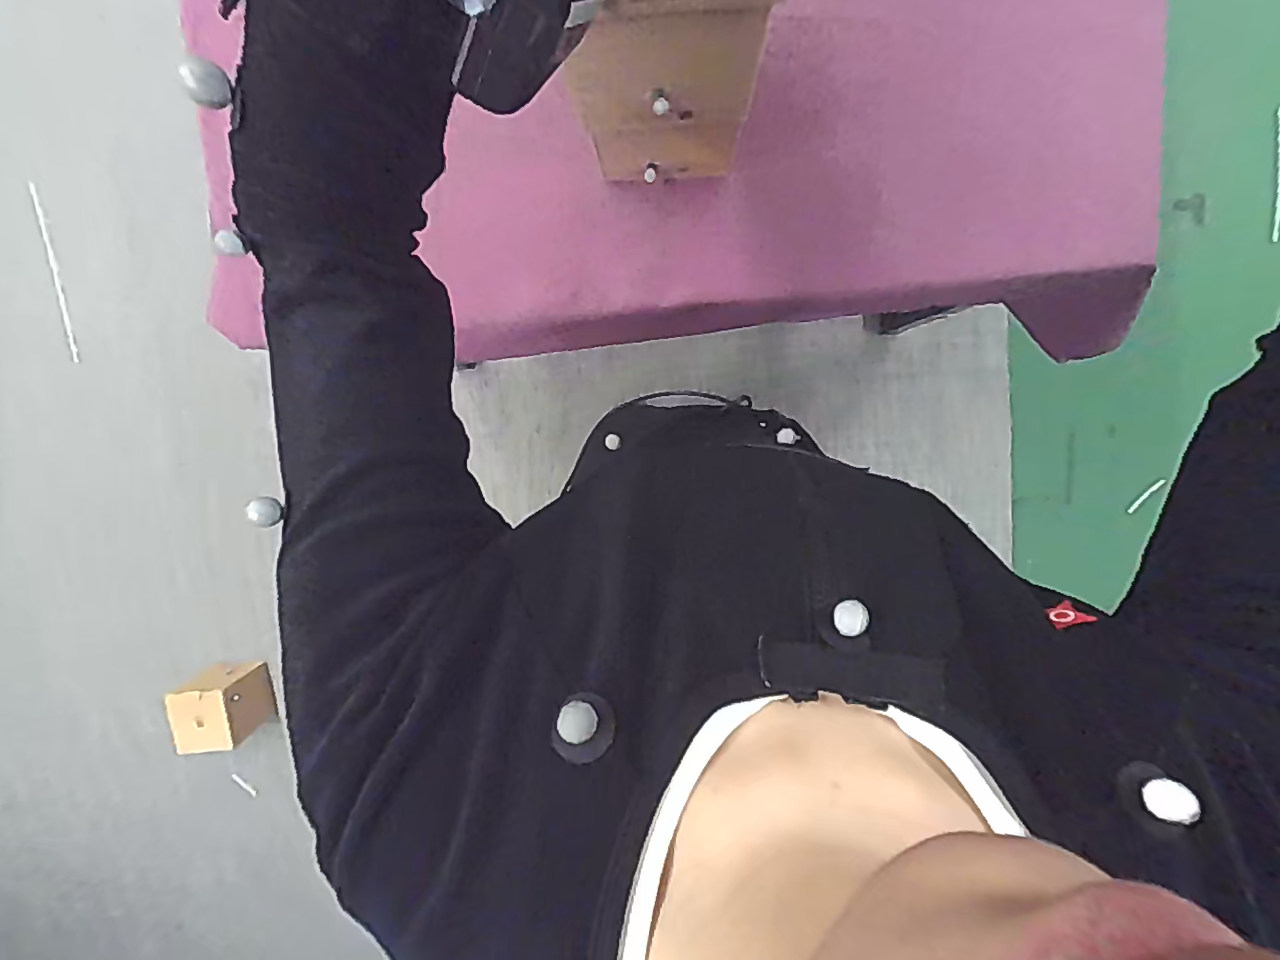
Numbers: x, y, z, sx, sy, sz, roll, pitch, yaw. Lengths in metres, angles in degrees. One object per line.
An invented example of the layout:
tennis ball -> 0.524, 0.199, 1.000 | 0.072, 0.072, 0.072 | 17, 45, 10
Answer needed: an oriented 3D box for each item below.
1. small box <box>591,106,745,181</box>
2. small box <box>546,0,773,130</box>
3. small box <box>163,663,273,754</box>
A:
small box -> 0.027, -0.466, 0.610 | 0.168, 0.176, 0.179 | -1, 97, 4
small box -> 0.015, -0.431, 0.450 | 0.168, 0.176, 0.179 | -2, 97, 4
small box -> -1.181, 0.642, 1.529 | 0.168, 0.176, 0.179 | -6, 96, 3
